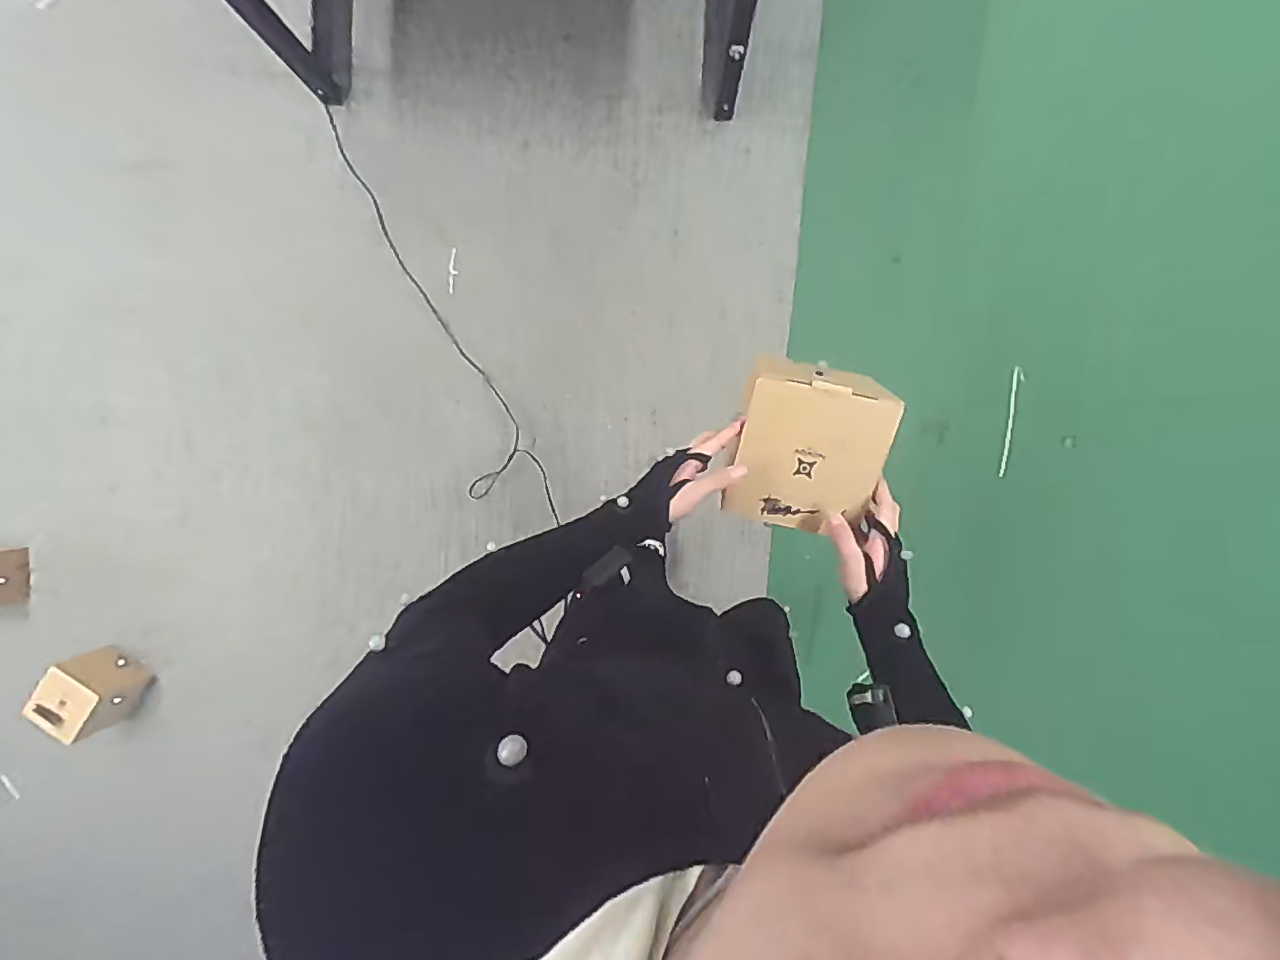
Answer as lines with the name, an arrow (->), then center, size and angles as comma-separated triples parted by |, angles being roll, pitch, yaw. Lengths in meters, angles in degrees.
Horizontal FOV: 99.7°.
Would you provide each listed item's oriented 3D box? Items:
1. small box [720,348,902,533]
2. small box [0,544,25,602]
small box -> 0.199, -0.061, 0.690 | 0.168, 0.176, 0.179 | 13, 113, 4
small box -> -1.964, 0.279, 1.575 | 0.179, 0.176, 0.168 | 1, 92, 2
